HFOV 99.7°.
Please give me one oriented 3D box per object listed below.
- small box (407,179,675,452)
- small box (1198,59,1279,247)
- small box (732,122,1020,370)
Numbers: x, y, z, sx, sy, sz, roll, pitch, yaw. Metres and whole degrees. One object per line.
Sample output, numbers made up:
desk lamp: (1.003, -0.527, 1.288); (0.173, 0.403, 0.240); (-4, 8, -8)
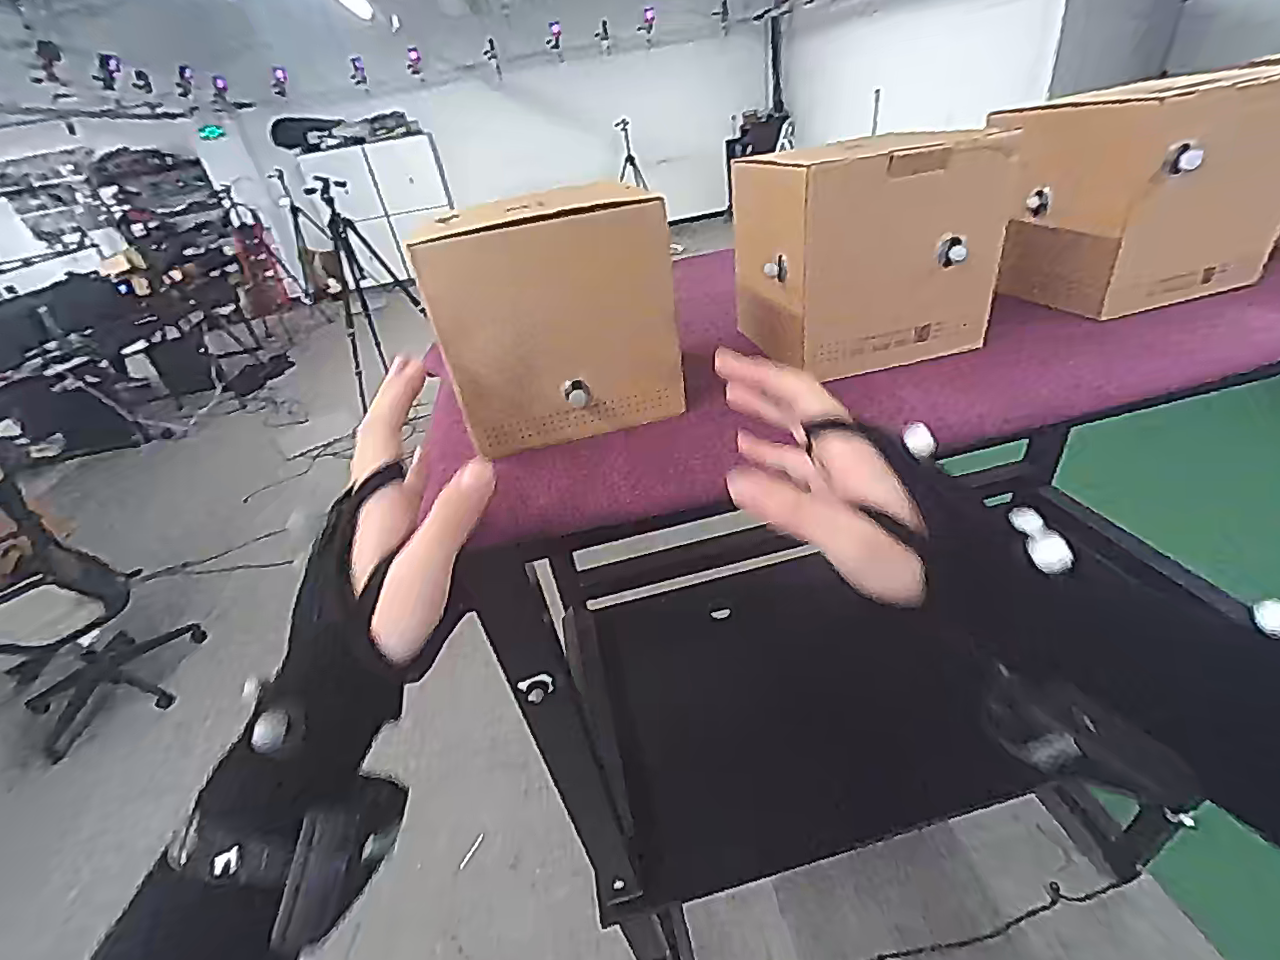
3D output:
small box: (-0.073, -0.146, 0.462); (0.179, 0.176, 0.168); (-14, 33, -8)
small box: (0.727, -0.335, 0.539); (0.179, 0.176, 0.168); (-13, 32, -5)
small box: (0.191, -0.209, 0.491); (0.168, 0.176, 0.179); (-11, 32, -4)
